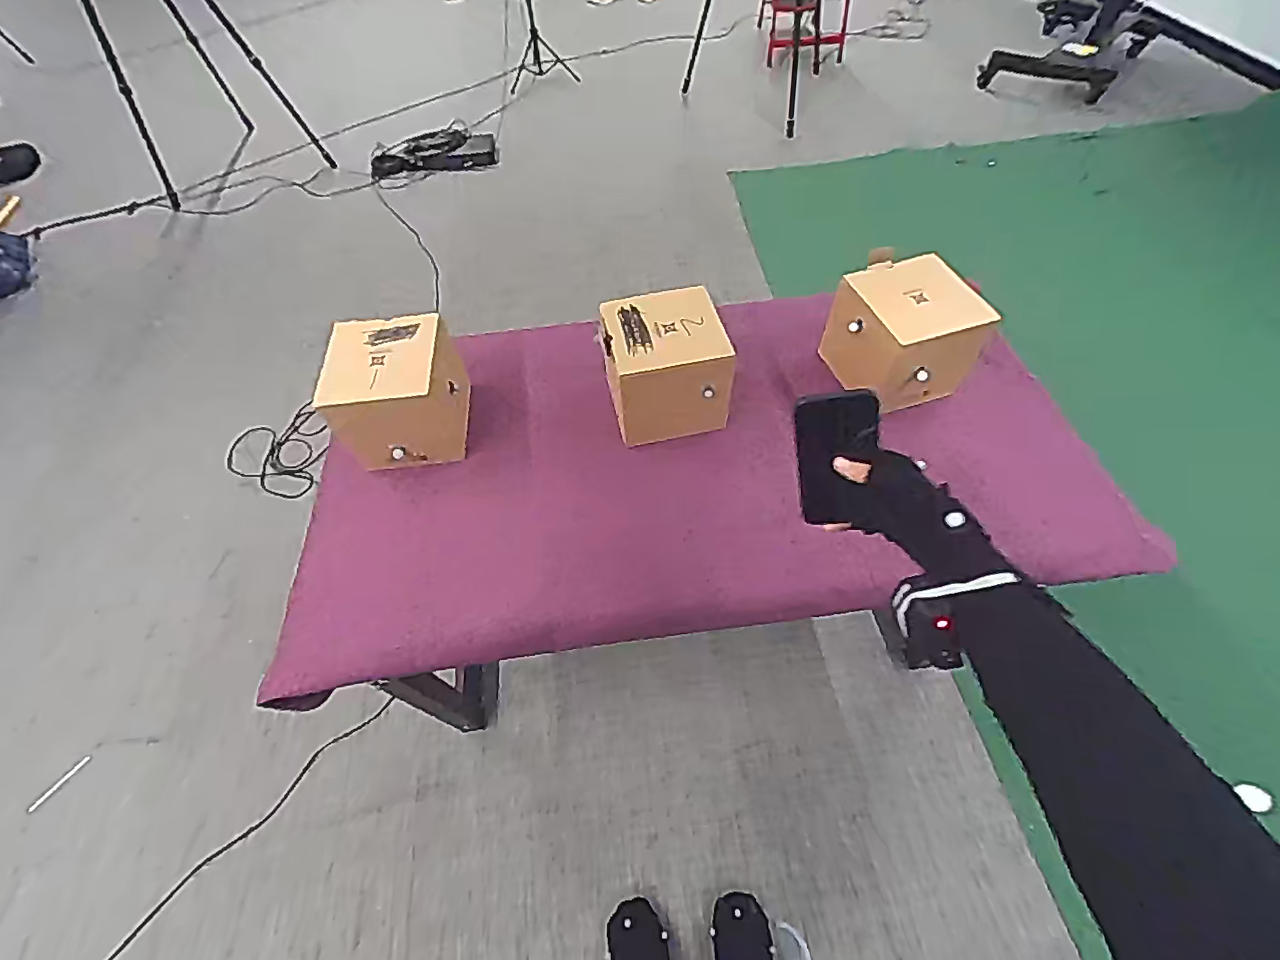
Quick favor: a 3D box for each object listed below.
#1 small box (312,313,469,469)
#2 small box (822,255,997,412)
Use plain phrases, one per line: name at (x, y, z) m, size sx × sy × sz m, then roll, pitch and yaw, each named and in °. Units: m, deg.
small box at (-0.382, -0.140, 0.867) m, size 0.168 × 0.176 × 0.179 m, roll -6°, pitch 58°, yaw -1°
small box at (0.427, -0.232, 0.889) m, size 0.168 × 0.176 × 0.179 m, roll -16°, pitch 57°, yaw -7°
